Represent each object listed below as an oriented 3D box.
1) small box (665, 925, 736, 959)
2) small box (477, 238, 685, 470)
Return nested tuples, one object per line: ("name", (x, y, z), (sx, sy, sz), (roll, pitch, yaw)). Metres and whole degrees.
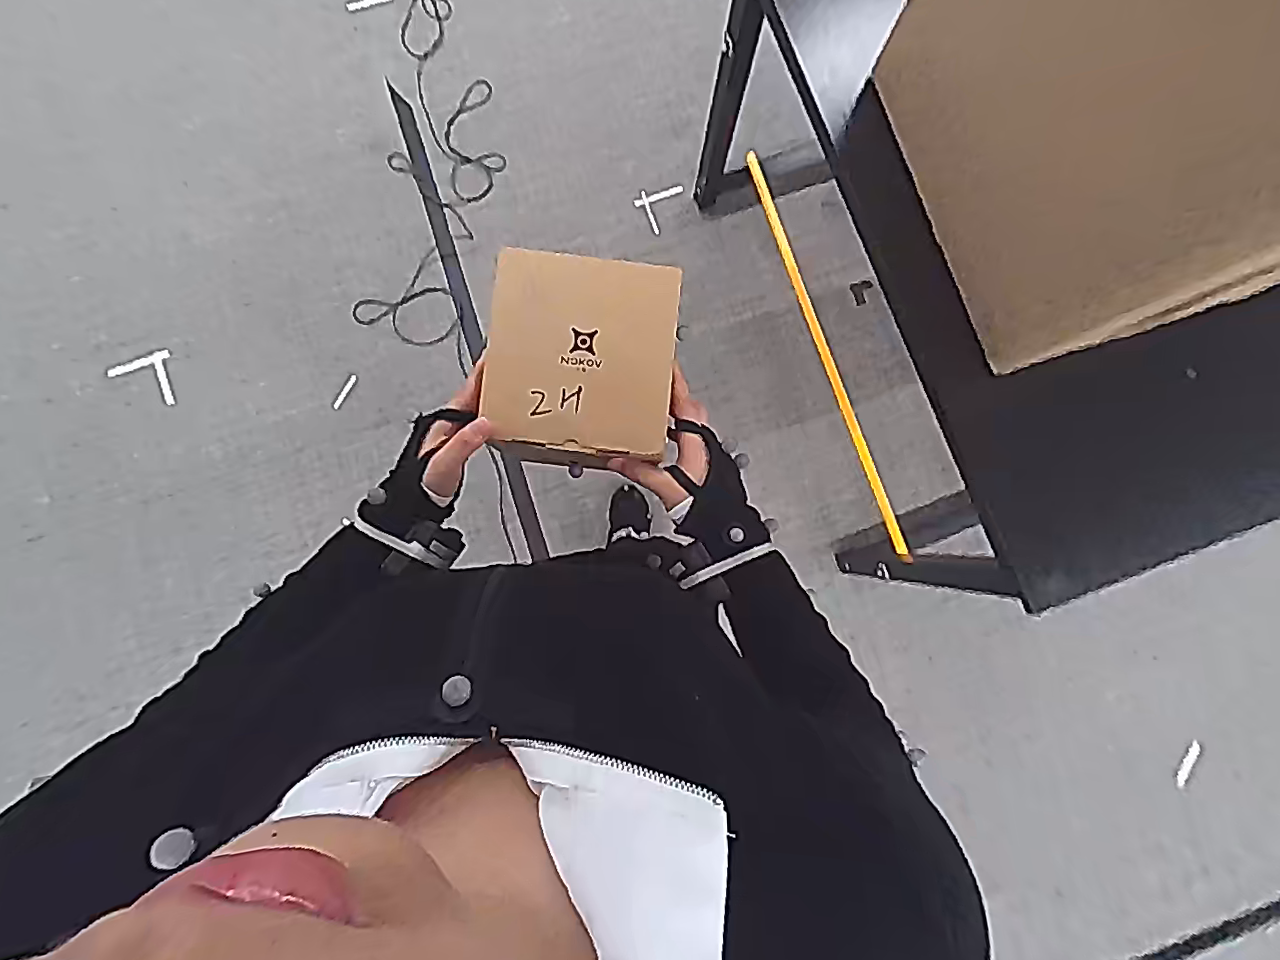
("small box", (0.171, 1.241, 1.300), (0.168, 0.176, 0.179), (-25, 83, -5))
("small box", (-0.054, -0.113, 0.551), (0.168, 0.176, 0.179), (6, 85, -2))
